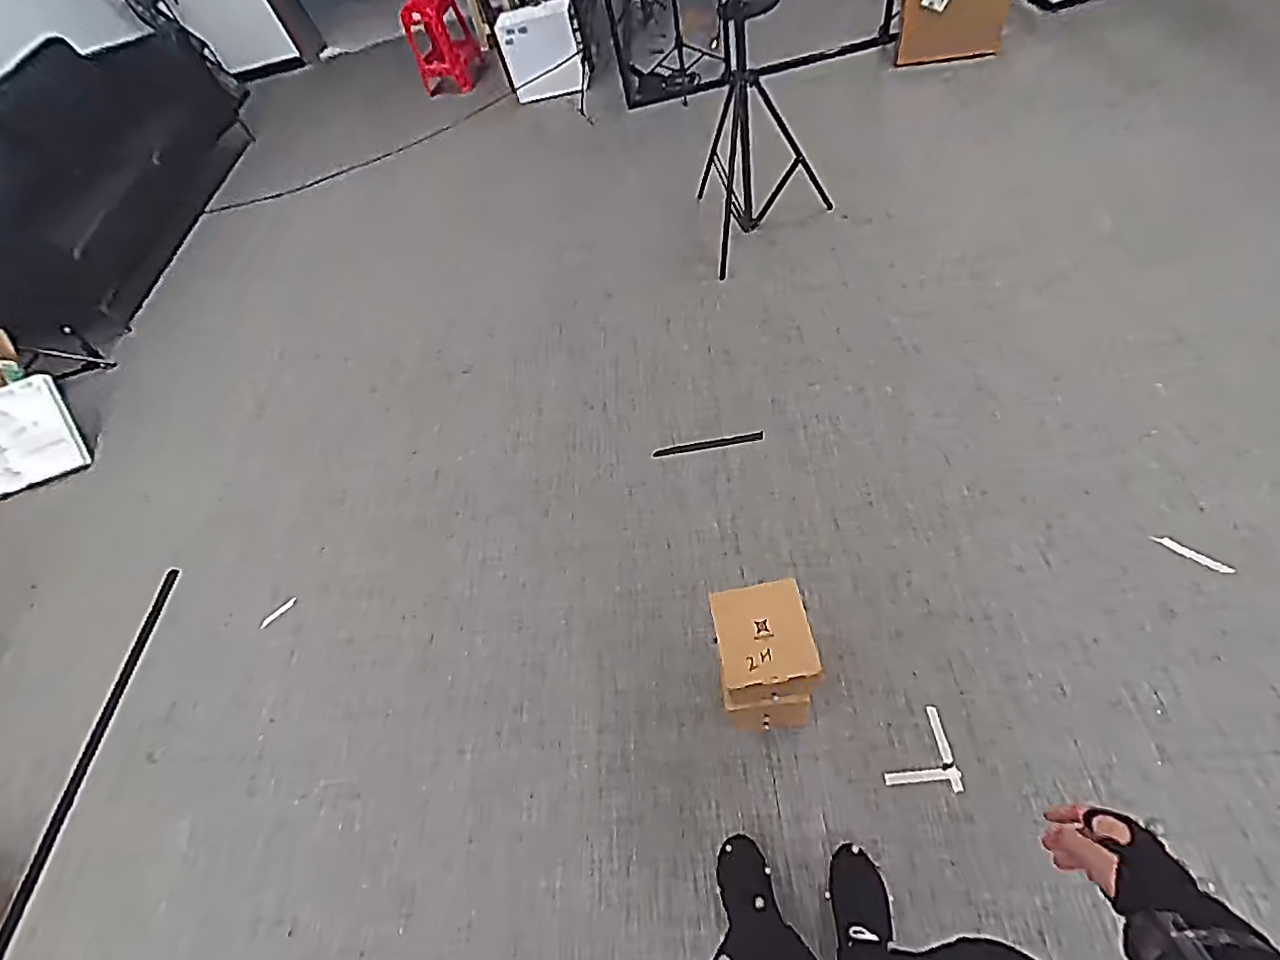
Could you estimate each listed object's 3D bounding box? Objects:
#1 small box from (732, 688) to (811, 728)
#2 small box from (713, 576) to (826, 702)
[{"bbox_3d":[0.303,0.484,1.296,0.168,0.176,0.179,-9,57,8],"label":"small box"},{"bbox_3d":[0.240,0.306,1.027,0.168,0.176,0.179,-13,58,7],"label":"small box"}]
